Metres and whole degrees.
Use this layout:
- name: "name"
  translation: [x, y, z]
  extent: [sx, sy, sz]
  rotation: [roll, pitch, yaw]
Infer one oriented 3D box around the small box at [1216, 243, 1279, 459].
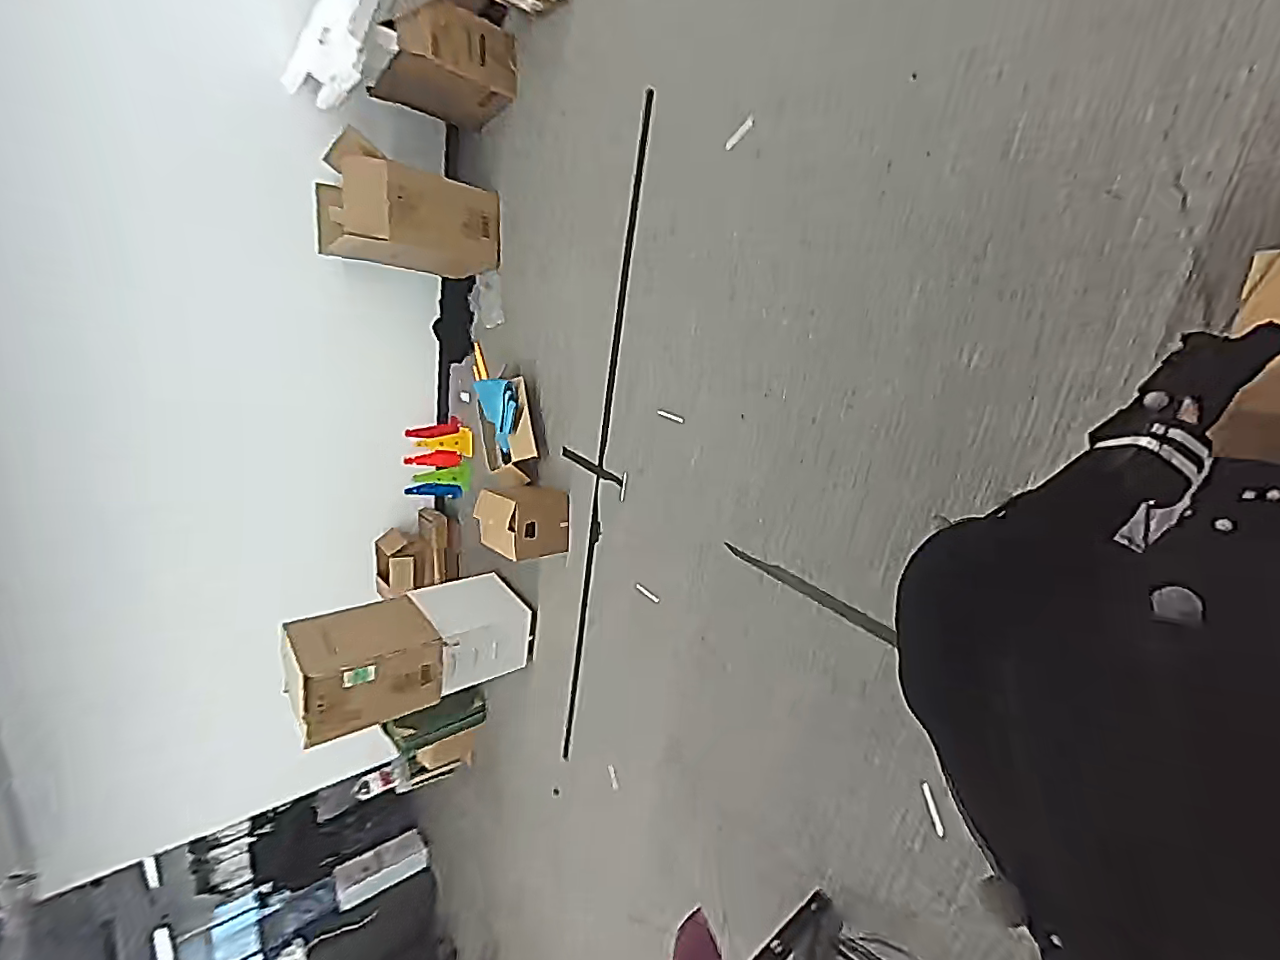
- name: "small box"
  translation: [0.683, -0.110, 0.498]
  extent: [0.179, 0.176, 0.168]
  rotation: [17, 88, 51]
